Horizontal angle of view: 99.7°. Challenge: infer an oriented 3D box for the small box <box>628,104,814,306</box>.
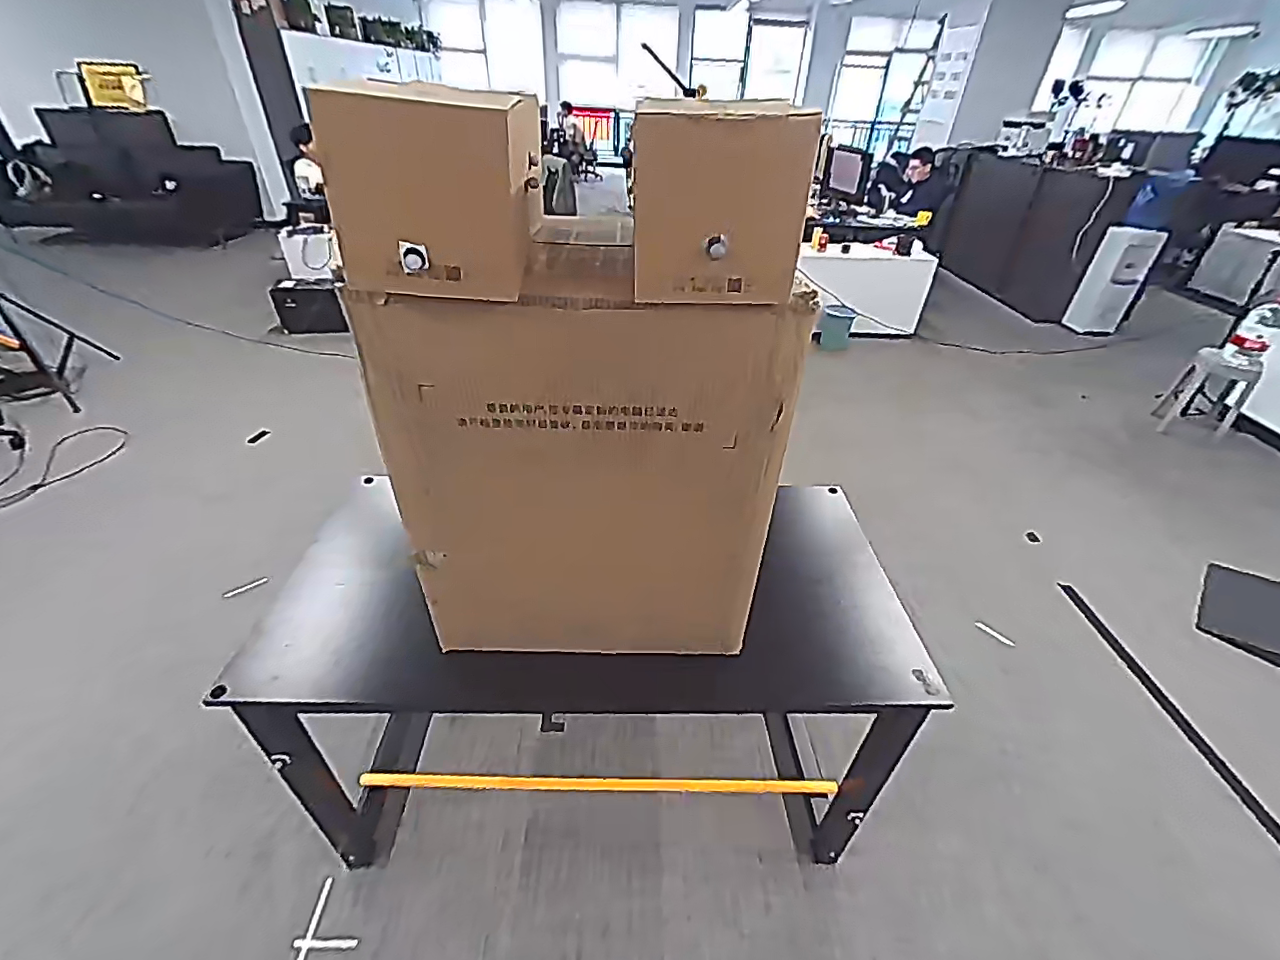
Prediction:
[{"bbox_3d":[0.072,-0.302,0.589,0.168,0.176,0.179,0,38,0],"label":"small box"}]
